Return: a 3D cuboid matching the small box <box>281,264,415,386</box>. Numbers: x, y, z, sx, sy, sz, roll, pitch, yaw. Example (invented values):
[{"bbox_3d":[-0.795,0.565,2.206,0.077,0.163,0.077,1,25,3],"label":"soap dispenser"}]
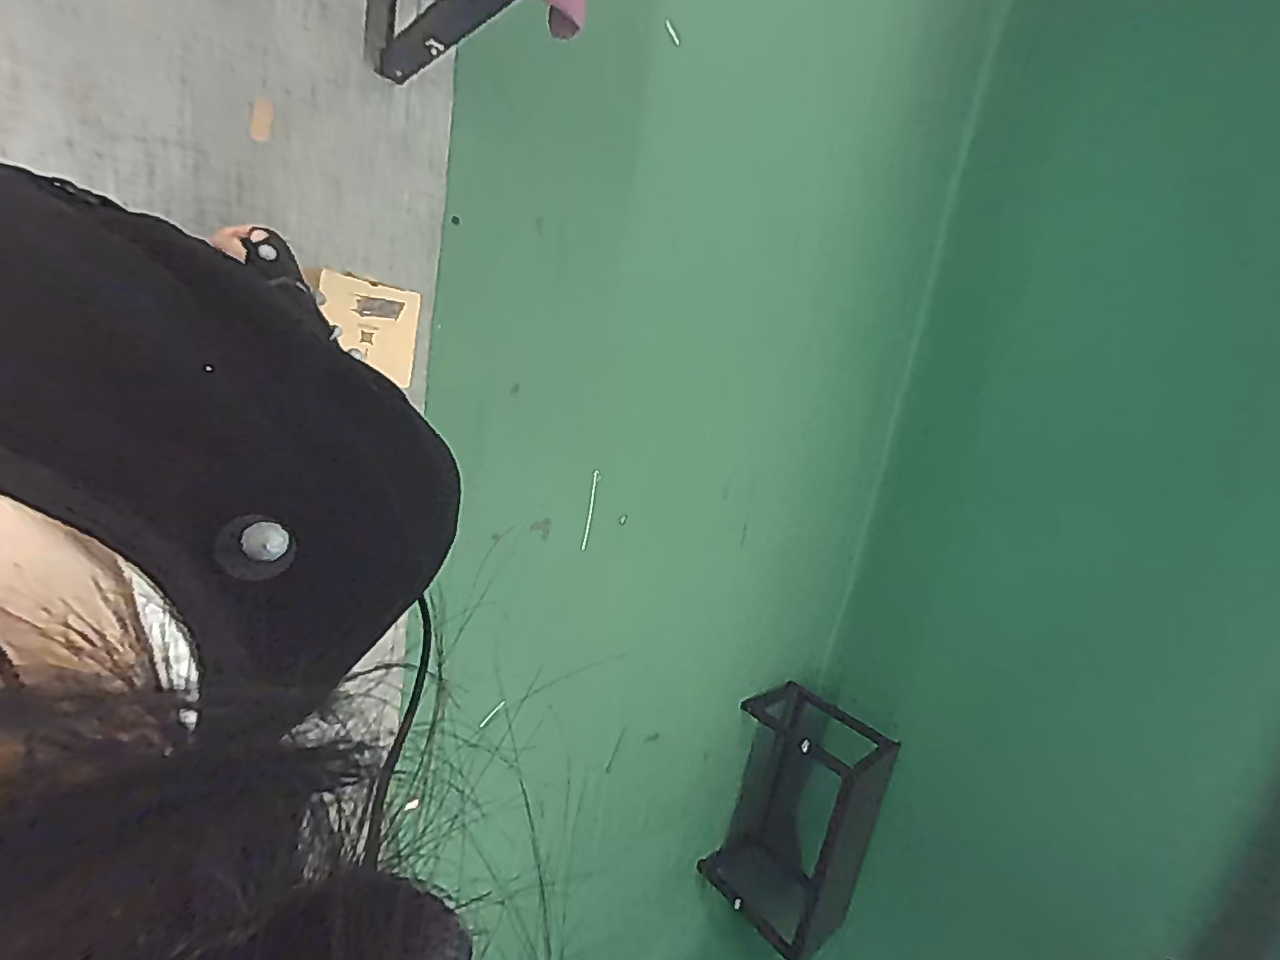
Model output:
[{"bbox_3d":[-0.536,-0.282,0.986,0.168,0.176,0.179,2,105,-45],"label":"small box"}]
